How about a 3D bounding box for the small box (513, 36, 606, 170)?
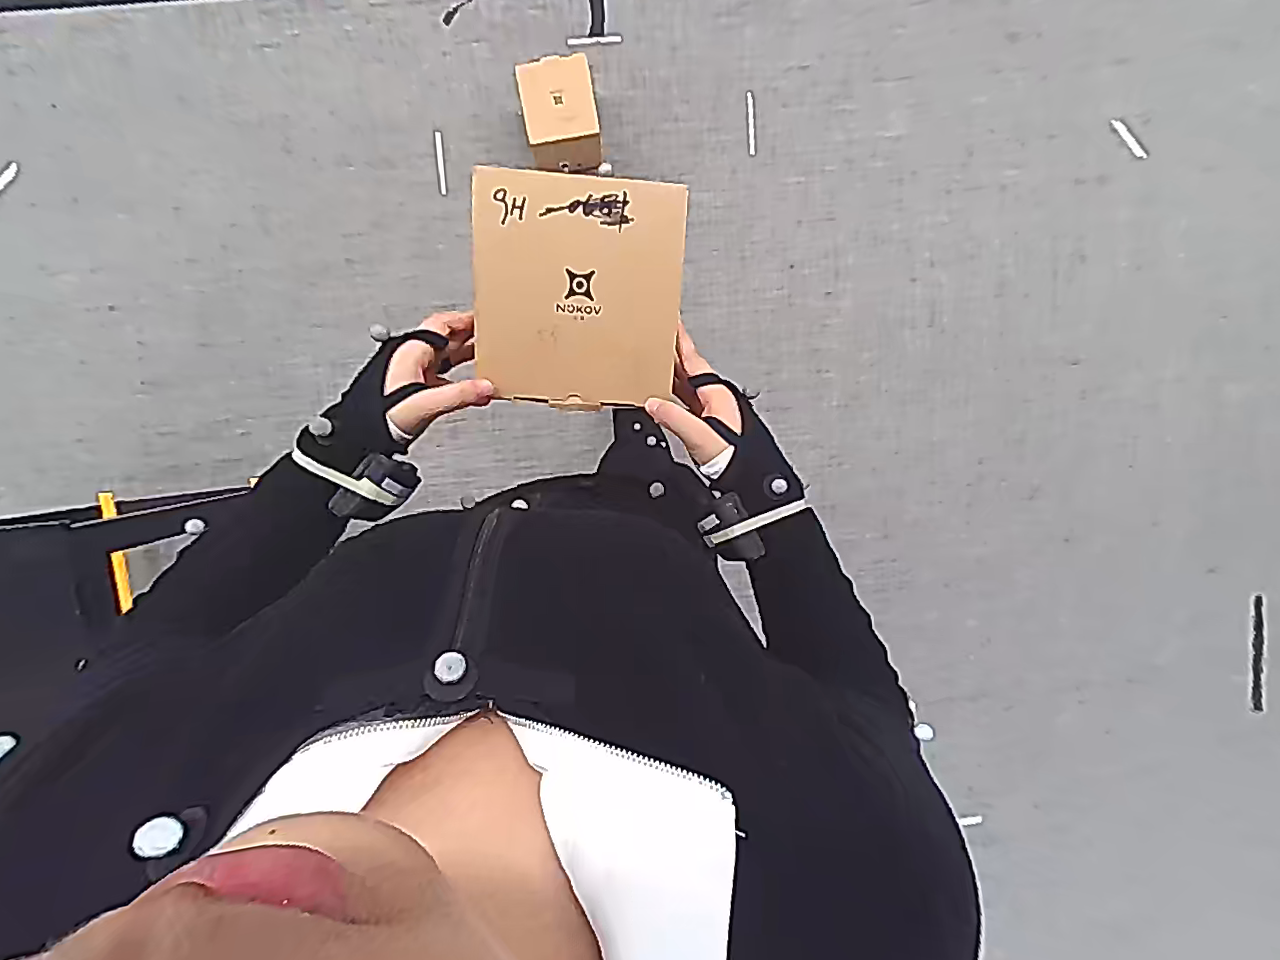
[{"bbox_3d":[-0.174,-0.835,1.213,0.168,0.176,0.179,-11,98,-1],"label":"small box"}]
